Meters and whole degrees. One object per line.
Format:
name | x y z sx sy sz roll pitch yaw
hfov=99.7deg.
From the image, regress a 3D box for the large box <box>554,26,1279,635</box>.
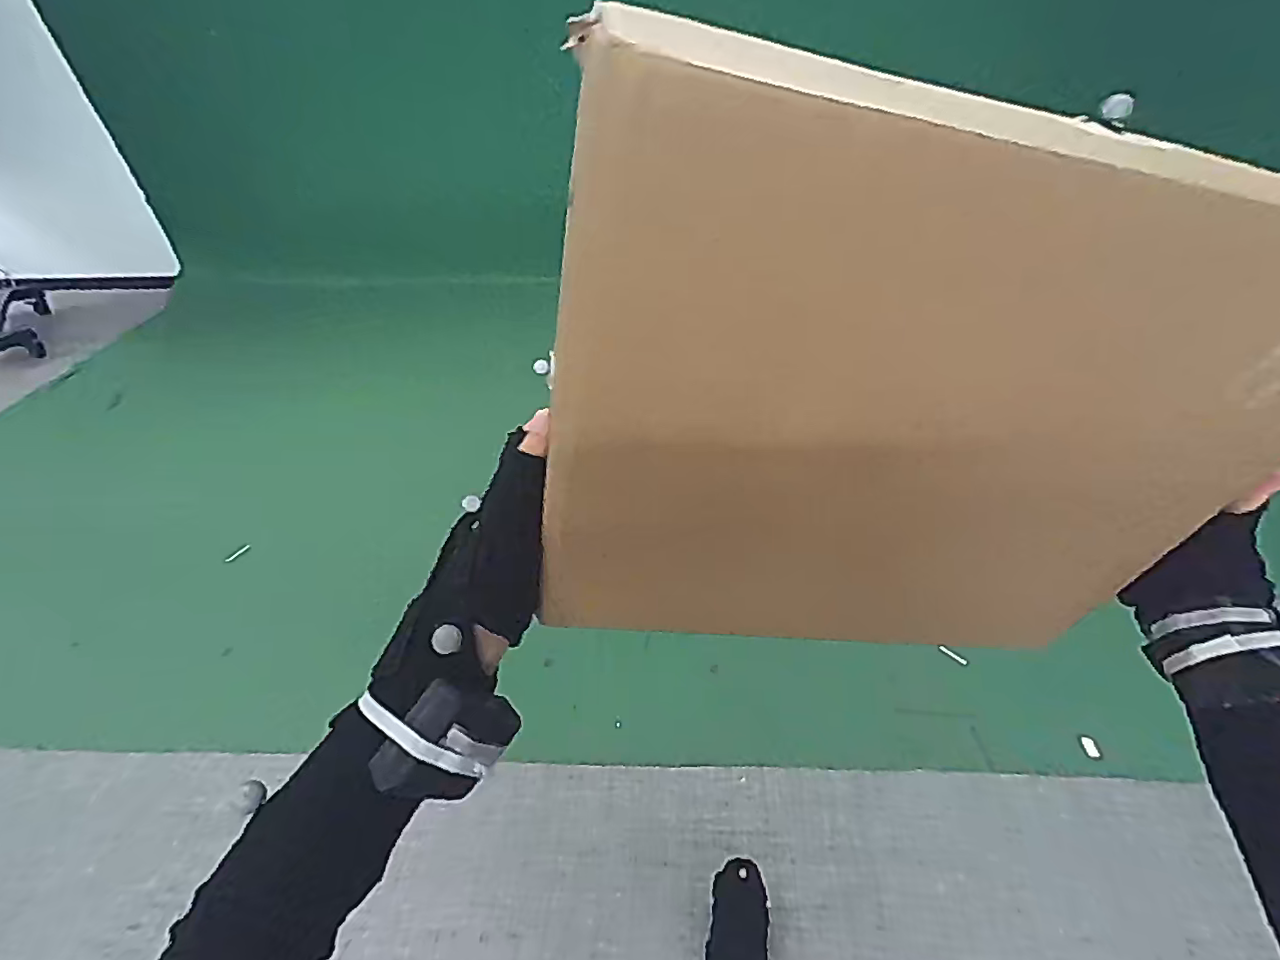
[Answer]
large box | 0.150 -0.098 0.419 0.408 0.320 0.320 6 42 -11
